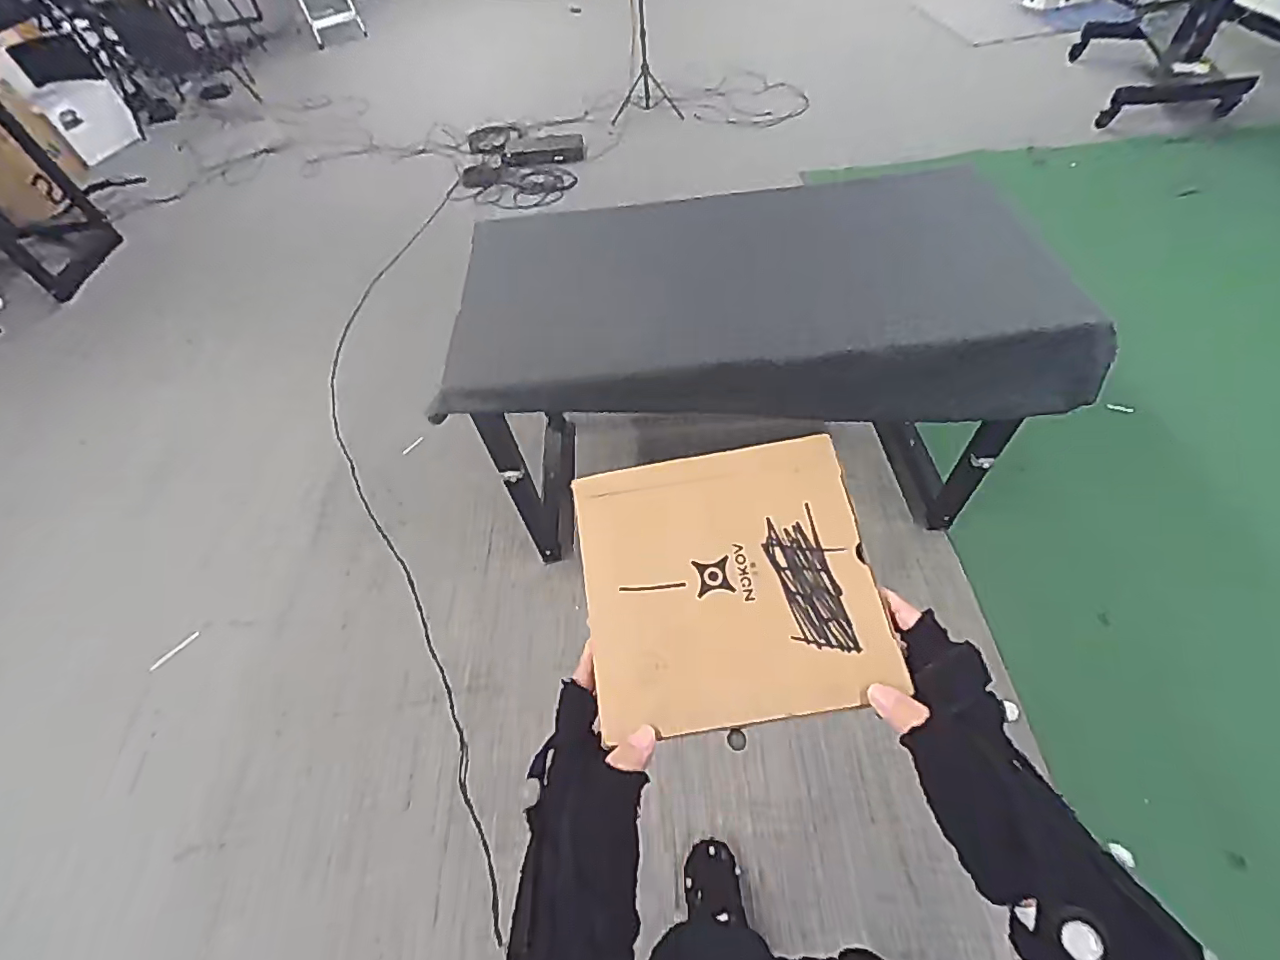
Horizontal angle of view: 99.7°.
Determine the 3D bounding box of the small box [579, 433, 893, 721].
[{"bbox_3d":[0.057,0.083,0.417,0.179,0.176,0.168,-9,67,1],"label":"small box"}]
